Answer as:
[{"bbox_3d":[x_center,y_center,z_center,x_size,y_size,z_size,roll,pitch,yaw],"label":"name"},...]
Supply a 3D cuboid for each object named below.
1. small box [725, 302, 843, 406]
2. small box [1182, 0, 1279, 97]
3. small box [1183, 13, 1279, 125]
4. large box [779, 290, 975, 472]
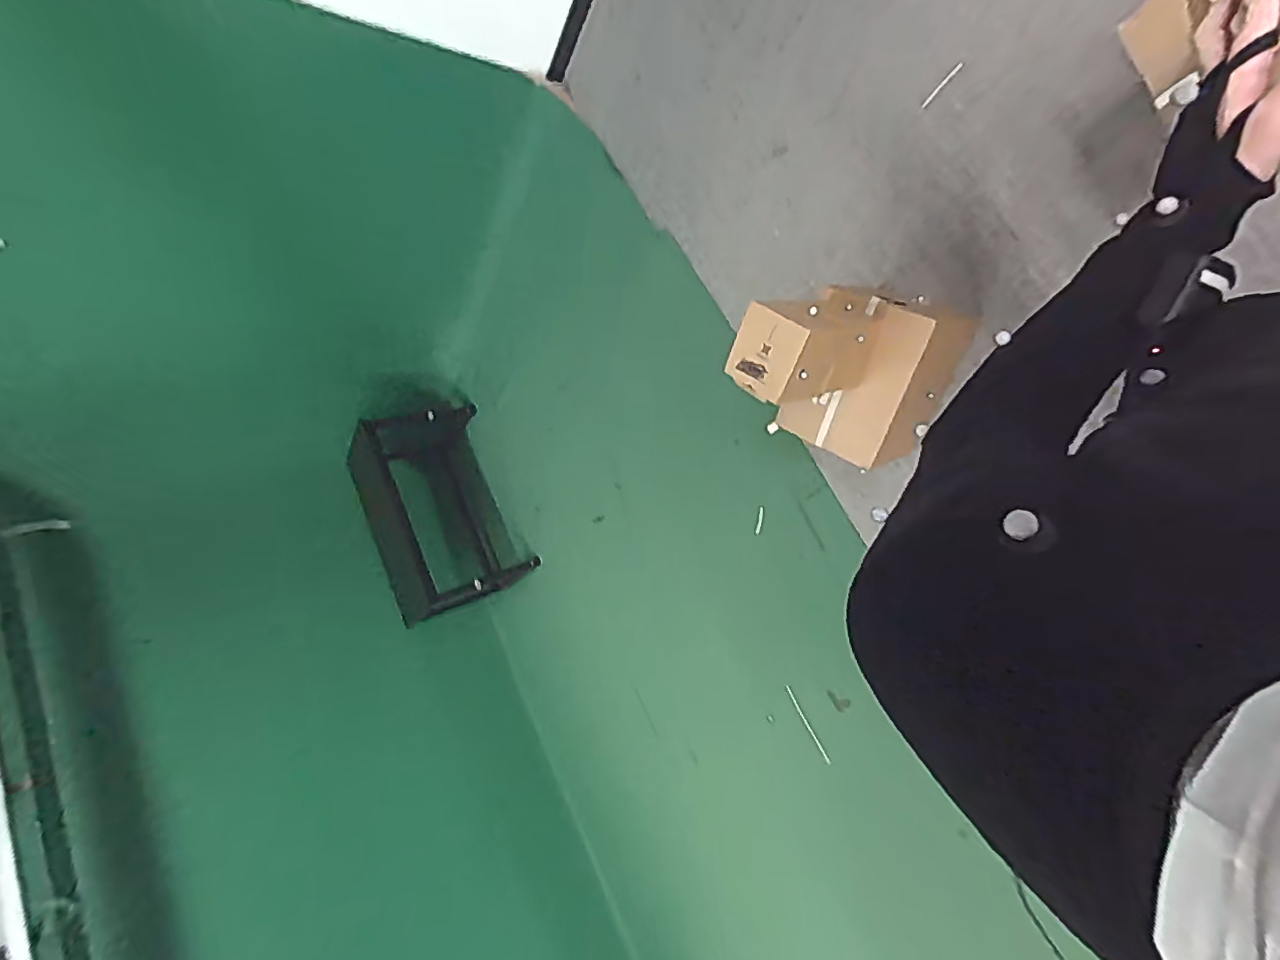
[{"bbox_3d":[0.330,-0.290,1.231,0.168,0.176,0.179,42,130,32],"label":"small box"},{"bbox_3d":[0.785,-0.590,0.631,0.168,0.176,0.179,-36,74,48],"label":"small box"},{"bbox_3d":[0.901,-0.624,0.740,0.168,0.176,0.179,-35,77,47],"label":"small box"},{"bbox_3d":[0.648,-0.292,1.504,0.320,0.320,0.408,36,127,37],"label":"large box"}]
